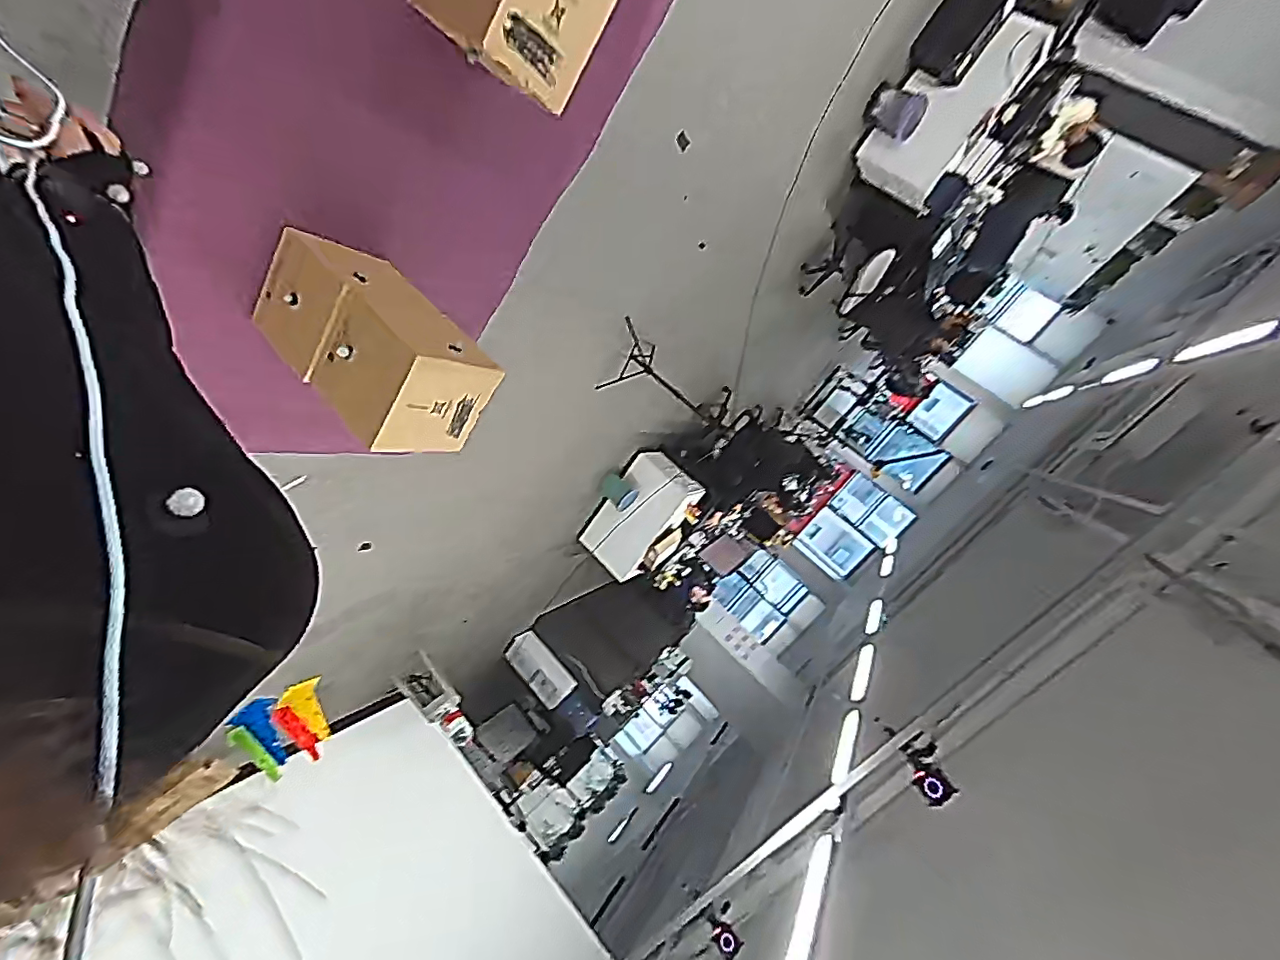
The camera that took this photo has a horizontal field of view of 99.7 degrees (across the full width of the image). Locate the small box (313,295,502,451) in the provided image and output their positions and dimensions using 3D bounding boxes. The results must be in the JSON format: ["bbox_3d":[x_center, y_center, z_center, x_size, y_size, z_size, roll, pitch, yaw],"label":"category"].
[{"bbox_3d":[-0.359,-0.161,0.841,0.168,0.176,0.179,-54,161,19],"label":"small box"}]

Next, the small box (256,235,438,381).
[{"bbox_3d":[-0.478,-0.267,0.881,0.168,0.176,0.179,-53,162,19],"label":"small box"}]
